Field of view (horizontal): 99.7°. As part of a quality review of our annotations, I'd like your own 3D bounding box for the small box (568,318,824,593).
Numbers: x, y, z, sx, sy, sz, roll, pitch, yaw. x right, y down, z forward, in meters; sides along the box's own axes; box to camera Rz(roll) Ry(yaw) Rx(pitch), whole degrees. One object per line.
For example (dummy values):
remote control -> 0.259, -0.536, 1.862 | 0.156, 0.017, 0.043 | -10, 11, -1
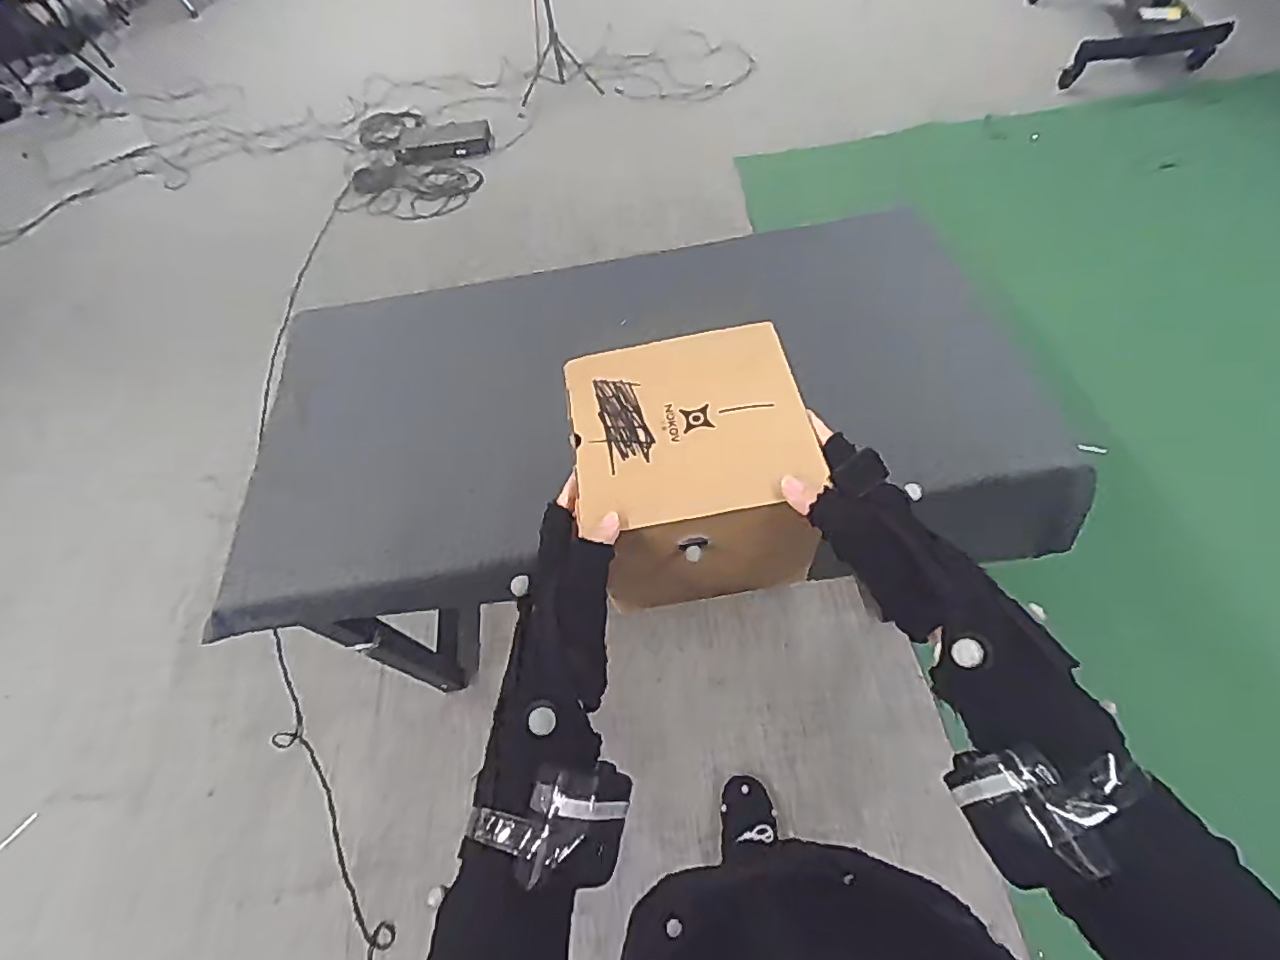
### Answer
small box -> 0.044, -0.011, 0.482 | 0.179, 0.176, 0.168 | -10, 59, 2
